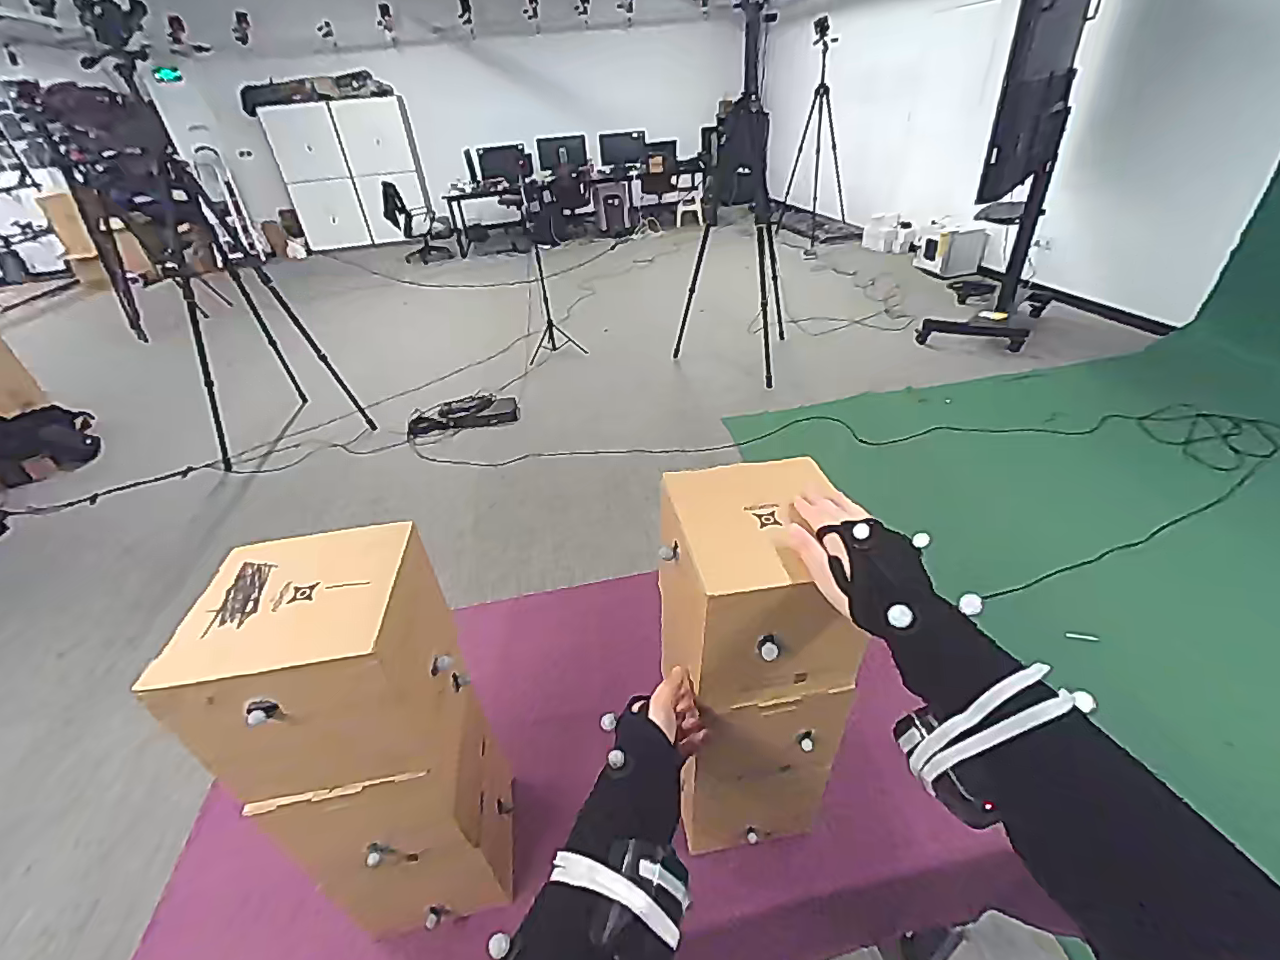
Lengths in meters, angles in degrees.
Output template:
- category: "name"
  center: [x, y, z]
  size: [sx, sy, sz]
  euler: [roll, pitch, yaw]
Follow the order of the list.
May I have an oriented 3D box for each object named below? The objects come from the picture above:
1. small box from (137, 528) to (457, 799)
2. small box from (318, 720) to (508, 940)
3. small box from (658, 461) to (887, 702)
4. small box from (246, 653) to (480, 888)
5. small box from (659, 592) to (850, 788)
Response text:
- category: "small box"
  center: [-0.291, 0.171, 0.511]
  size: [0.179, 0.176, 0.168]
  euler: [-8, 35, -5]
- category: "small box"
  center: [-0.269, 0.445, 0.694]
  size: [0.179, 0.176, 0.168]
  euler: [-10, 35, -8]
- category: "small box"
  center: [0.116, 0.104, 0.552]
  size: [0.168, 0.176, 0.179]
  euler: [-7, 36, -8]
- category: "small box"
  center: [-0.282, 0.307, 0.603]
  size: [0.168, 0.176, 0.179]
  euler: [-10, 35, -6]
- category: "small box"
  center: [0.122, 0.238, 0.644]
  size: [0.168, 0.176, 0.179]
  euler: [-8, 35, -8]
